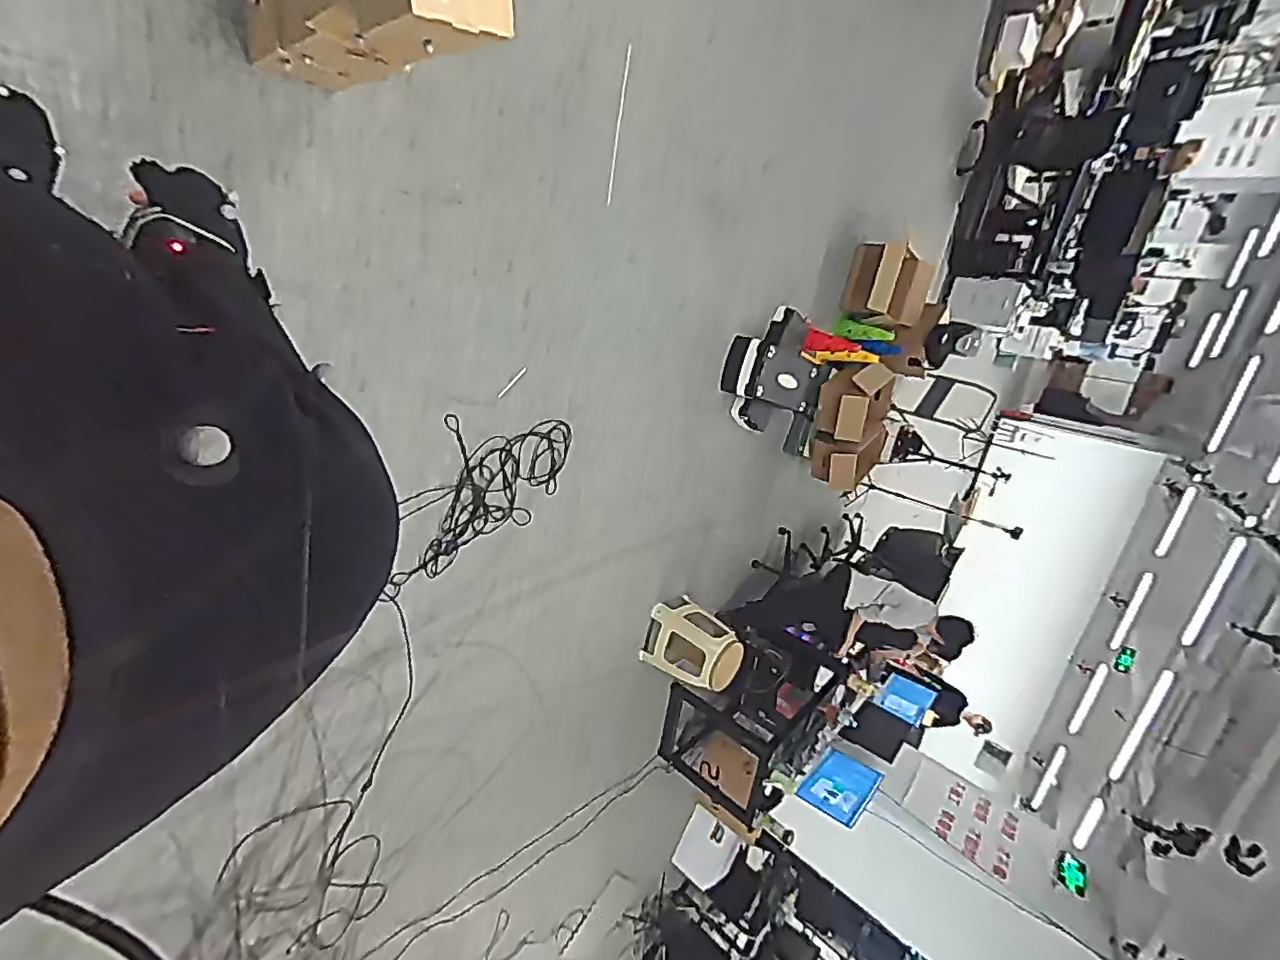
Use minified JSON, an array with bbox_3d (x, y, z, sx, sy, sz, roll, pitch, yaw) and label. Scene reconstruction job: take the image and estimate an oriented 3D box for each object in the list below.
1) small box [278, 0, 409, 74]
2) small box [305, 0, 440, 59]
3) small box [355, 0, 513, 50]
[{"bbox_3d":[-0.532,-0.866,0.971,0.168,0.176,0.179,-13,118,-47],"label":"small box"},{"bbox_3d":[-0.420,-0.818,0.863,0.168,0.176,0.179,-10,116,-48],"label":"small box"},{"bbox_3d":[-0.303,-0.747,0.770,0.168,0.176,0.179,-25,128,-41],"label":"small box"}]
